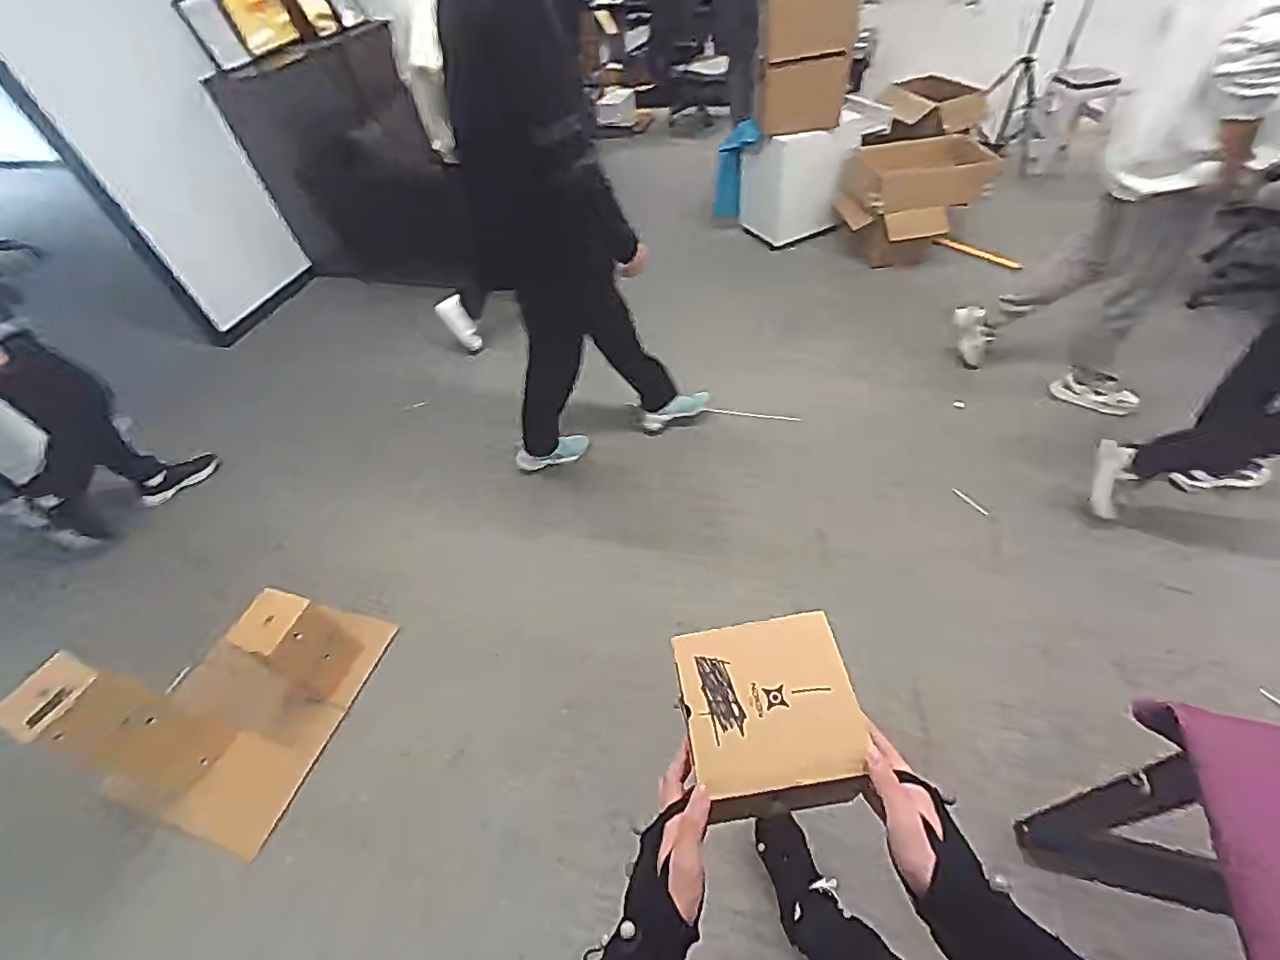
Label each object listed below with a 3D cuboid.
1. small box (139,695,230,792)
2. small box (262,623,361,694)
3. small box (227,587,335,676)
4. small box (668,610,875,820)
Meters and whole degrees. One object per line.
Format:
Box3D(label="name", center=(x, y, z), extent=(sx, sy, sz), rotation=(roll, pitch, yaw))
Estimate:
Box3D(label="small box", center=(-1.336, 0.759, 1.557), extent=(0.168, 0.176, 0.179), rotation=(17, 53, 21))
Box3D(label="small box", center=(-1.023, 0.548, 1.703), extent=(0.168, 0.176, 0.179), rotation=(11, 52, 16))
Box3D(label="small box", center=(-1.032, 0.444, 1.580), extent=(0.168, 0.176, 0.179), rotation=(11, 53, 15))
Box3D(label="small box", center=(0.136, 0.272, 0.616), extent=(0.179, 0.176, 0.168), rotation=(-10, 51, 0))
